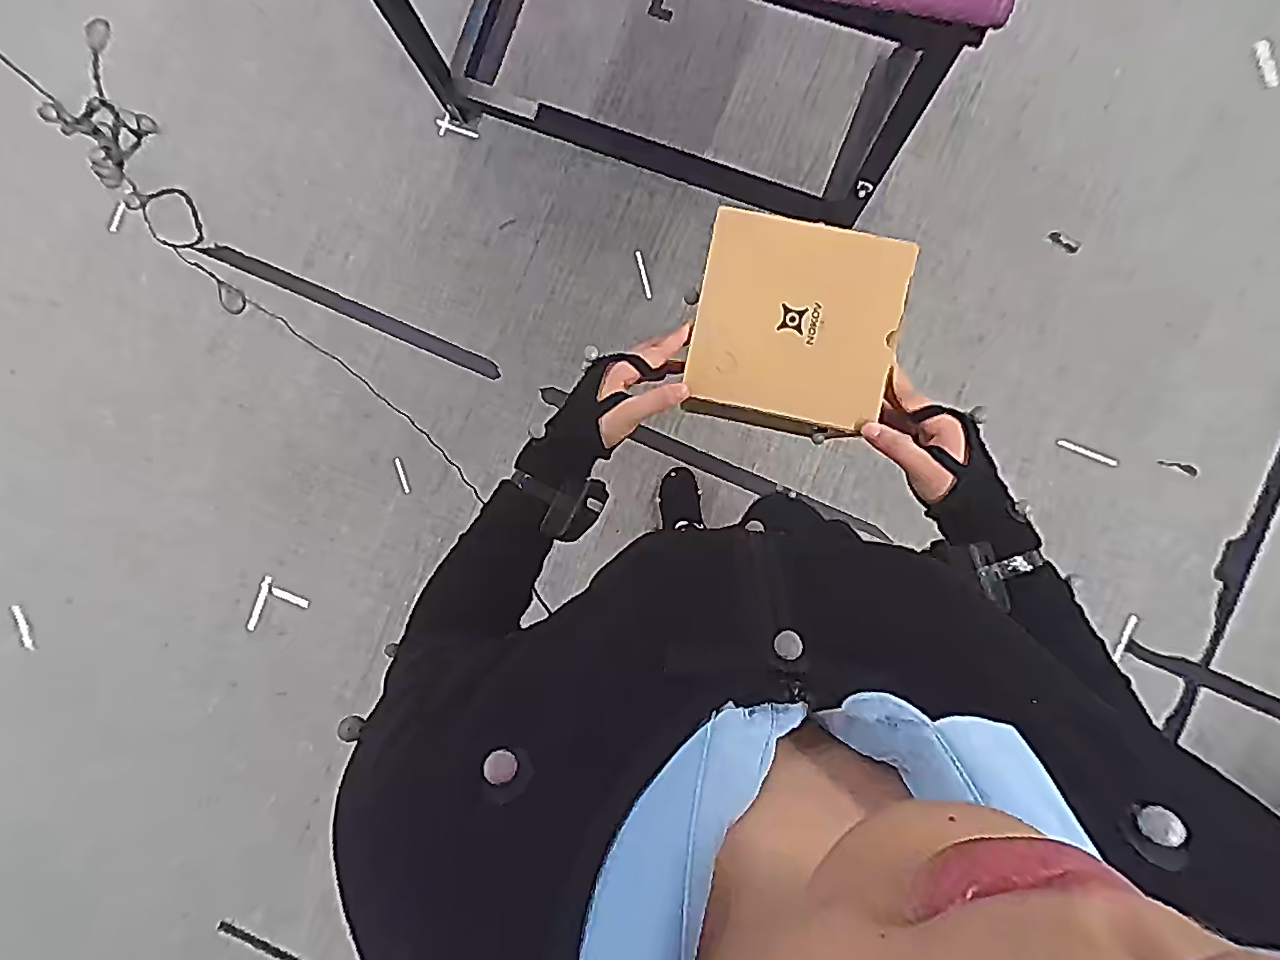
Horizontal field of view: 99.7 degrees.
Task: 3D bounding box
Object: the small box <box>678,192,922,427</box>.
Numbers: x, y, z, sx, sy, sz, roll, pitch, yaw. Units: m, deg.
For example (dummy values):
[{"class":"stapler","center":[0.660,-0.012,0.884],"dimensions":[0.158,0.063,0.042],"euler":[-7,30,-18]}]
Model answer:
[{"class":"small box","center":[0.138,-0.150,0.537],"dimensions":[0.179,0.176,0.168],"euler":[12,93,1]}]
